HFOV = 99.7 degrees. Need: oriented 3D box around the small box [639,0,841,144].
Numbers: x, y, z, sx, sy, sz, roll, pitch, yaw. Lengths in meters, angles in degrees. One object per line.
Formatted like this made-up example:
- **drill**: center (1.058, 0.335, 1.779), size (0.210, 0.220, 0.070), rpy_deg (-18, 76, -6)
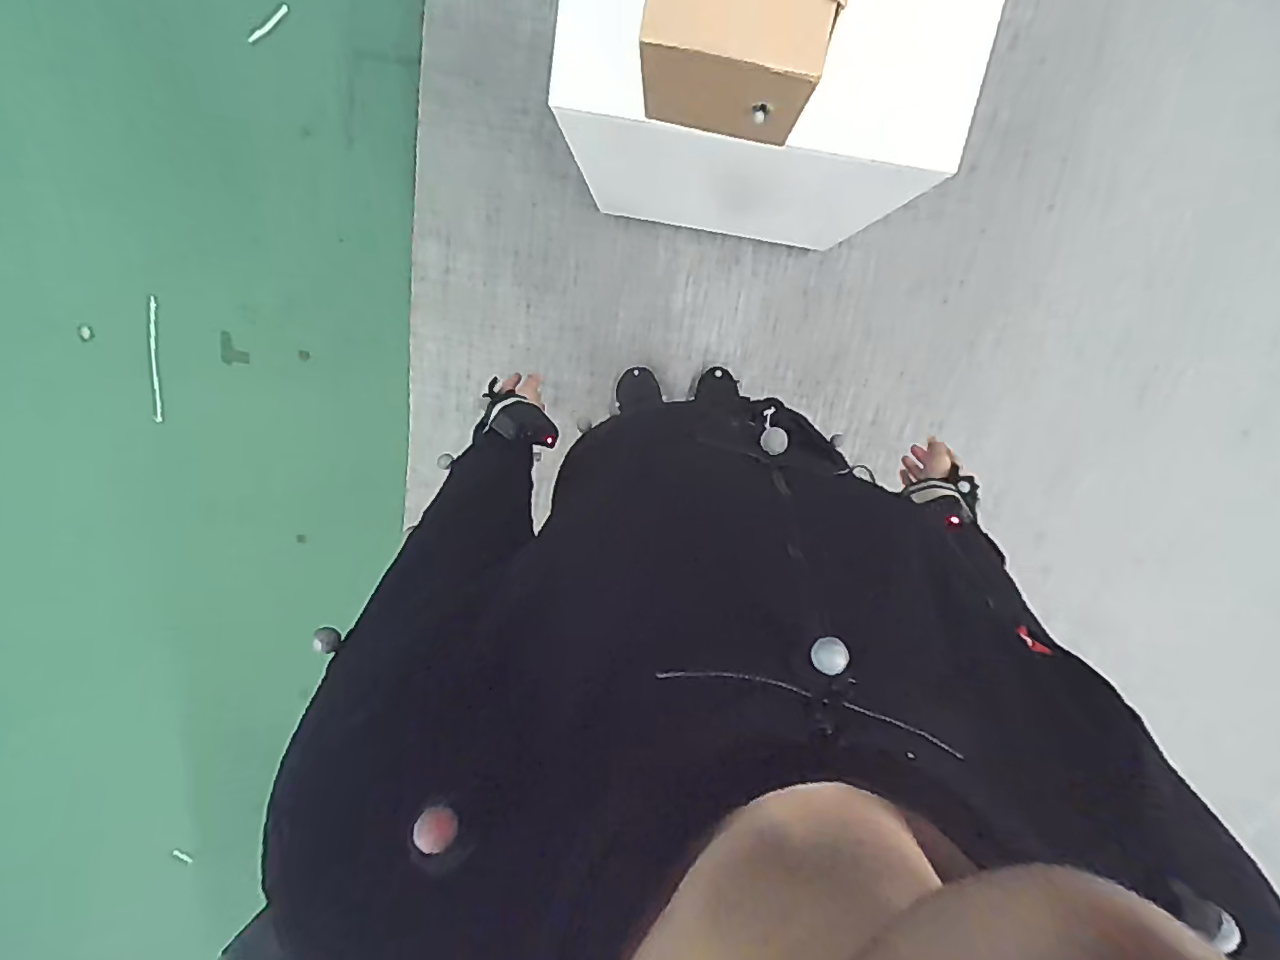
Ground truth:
- **small box**: center (0.103, -0.477, 0.559), size (0.179, 0.176, 0.168), rpy_deg (11, 102, 1)
